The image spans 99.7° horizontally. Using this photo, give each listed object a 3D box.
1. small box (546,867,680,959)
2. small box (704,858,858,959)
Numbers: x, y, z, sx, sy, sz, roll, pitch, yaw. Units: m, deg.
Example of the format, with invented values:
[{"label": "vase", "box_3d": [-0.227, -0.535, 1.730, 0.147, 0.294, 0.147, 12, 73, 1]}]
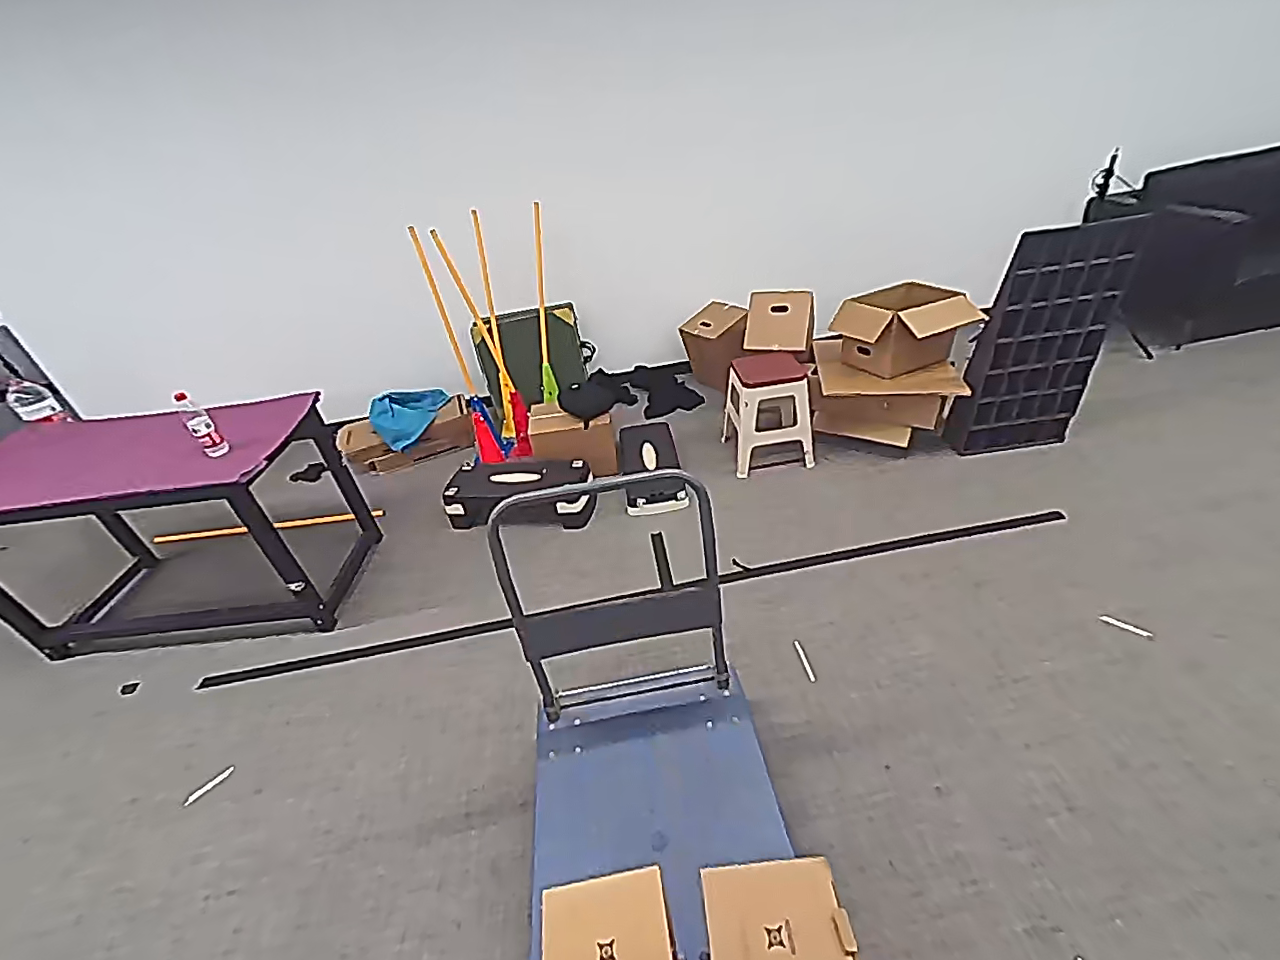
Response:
[{"label": "small box", "box_3d": [-0.030, 0.665, 0.725, 0.168, 0.176, 0.179, -10, 35, -3]}, {"label": "small box", "box_3d": [0.184, 0.637, 0.721, 0.179, 0.176, 0.168, -7, 34, 3]}]
